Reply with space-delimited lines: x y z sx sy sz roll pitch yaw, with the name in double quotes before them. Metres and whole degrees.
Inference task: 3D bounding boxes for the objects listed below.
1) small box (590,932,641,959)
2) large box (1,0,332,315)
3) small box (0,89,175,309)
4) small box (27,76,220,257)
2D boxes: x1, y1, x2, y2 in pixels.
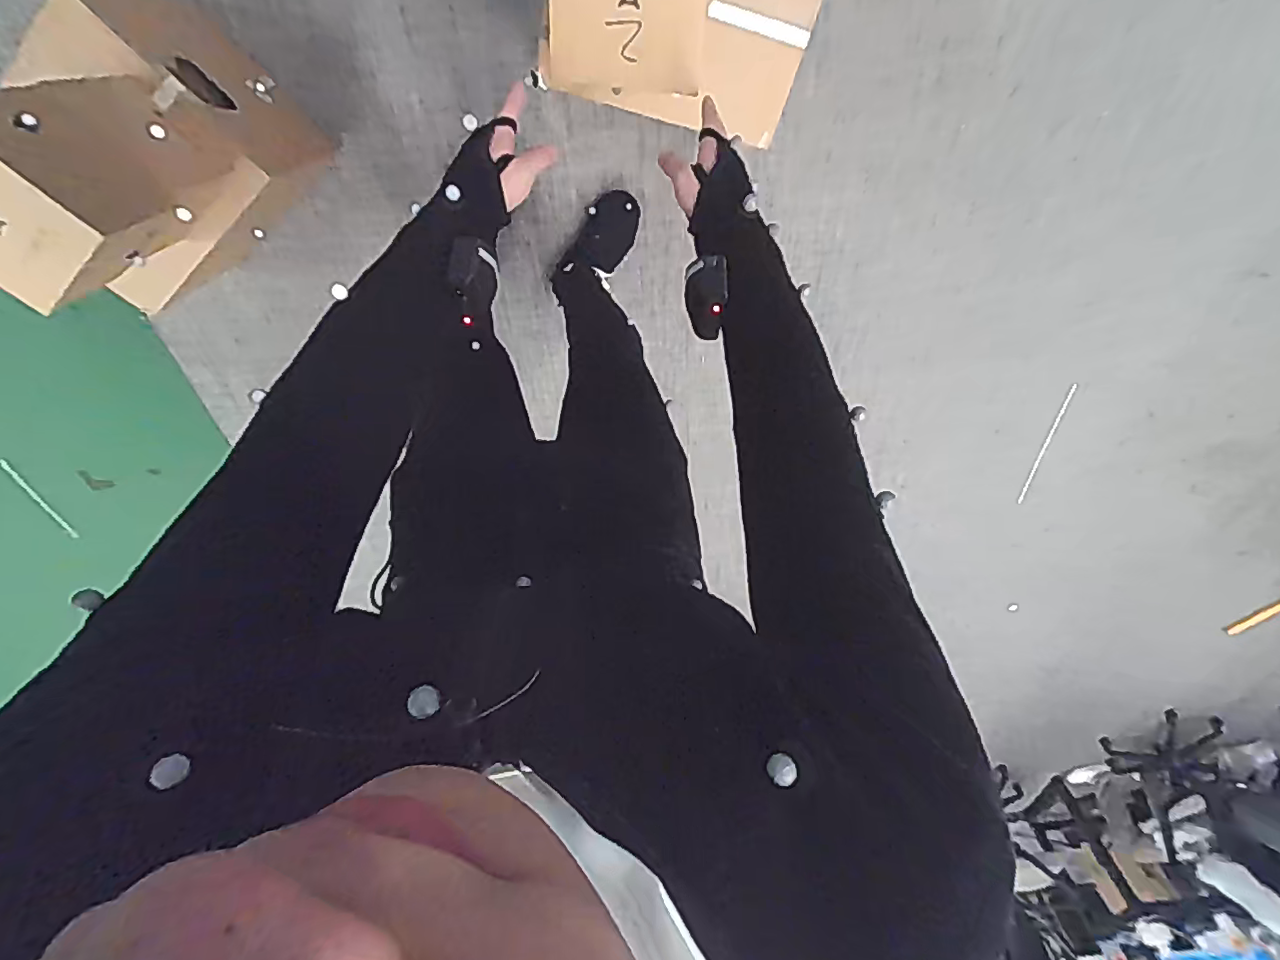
"small box" -0.077 1.621 1.785 0.168 0.176 0.179 -4 128 -2
"large box" -0.875 -0.601 1.008 0.408 0.320 0.320 -32 123 20
"small box" -0.763 -0.359 0.685 0.168 0.176 0.179 -30 126 19
"small box" -0.781 -0.465 0.808 0.179 0.176 0.168 -33 124 20
